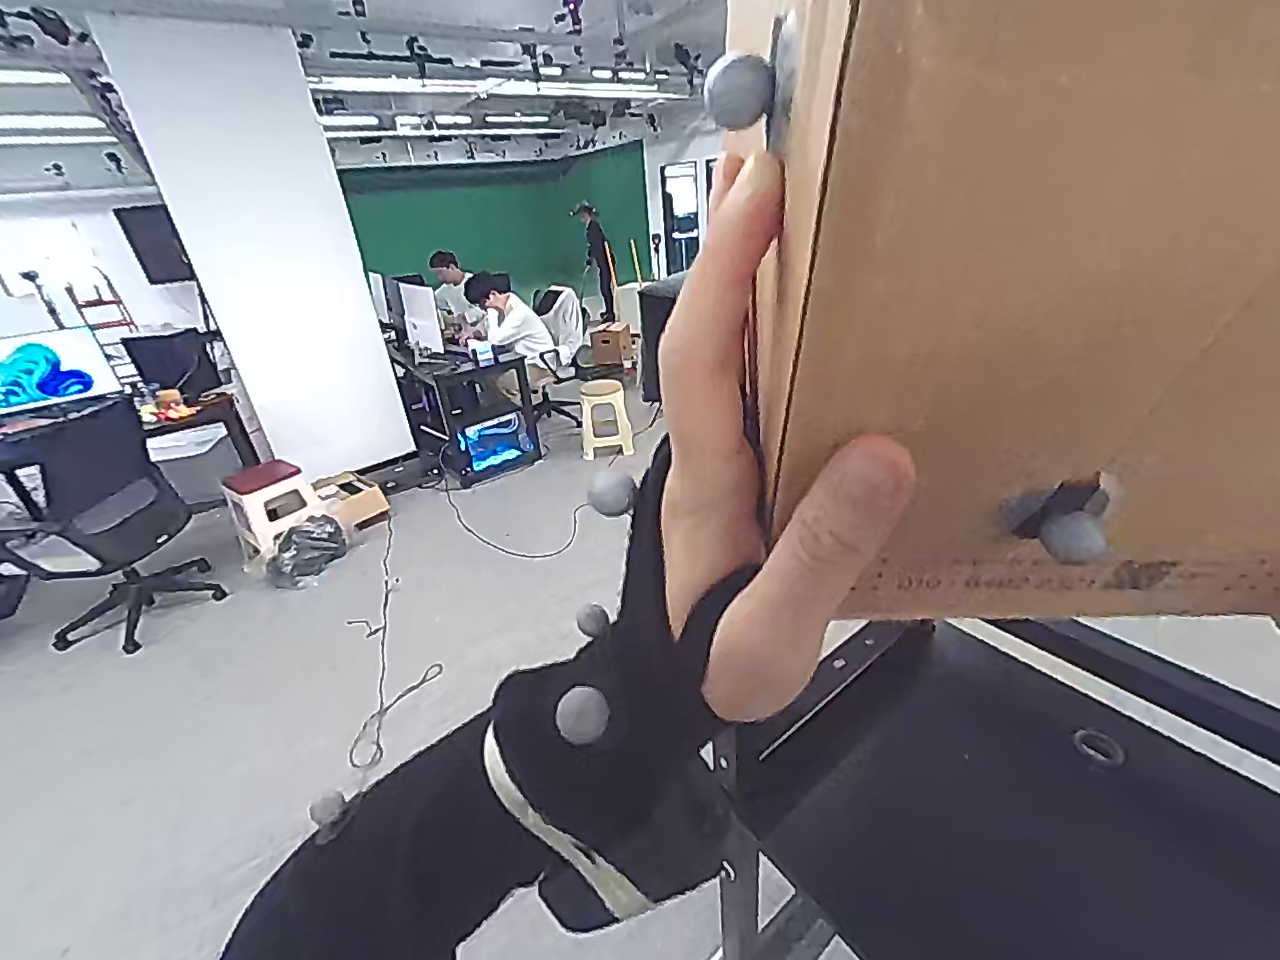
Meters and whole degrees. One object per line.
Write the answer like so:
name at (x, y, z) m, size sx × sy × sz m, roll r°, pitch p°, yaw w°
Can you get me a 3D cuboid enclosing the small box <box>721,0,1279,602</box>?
small box at (0.114, -0.082, 0.159) m, size 0.168 × 0.176 × 0.179 m, roll -2°, pitch 50°, yaw 4°
